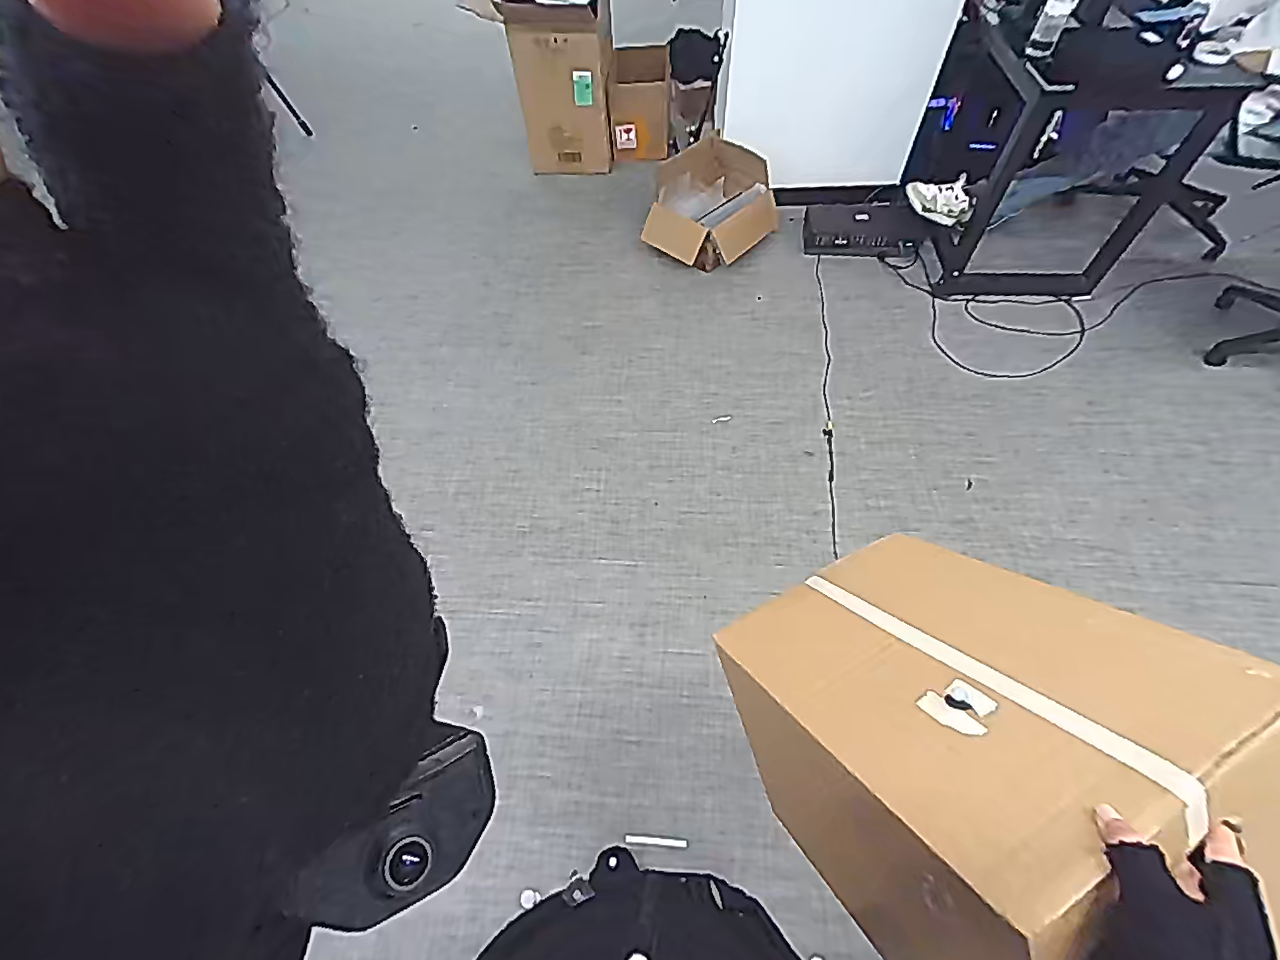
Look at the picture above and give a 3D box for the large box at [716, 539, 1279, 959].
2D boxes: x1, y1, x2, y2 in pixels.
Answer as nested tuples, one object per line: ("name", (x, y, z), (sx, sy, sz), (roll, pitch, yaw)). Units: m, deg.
("large box", (0.342, 0.311, 0.592), (0.320, 0.320, 0.408), (-24, 18, -15))
